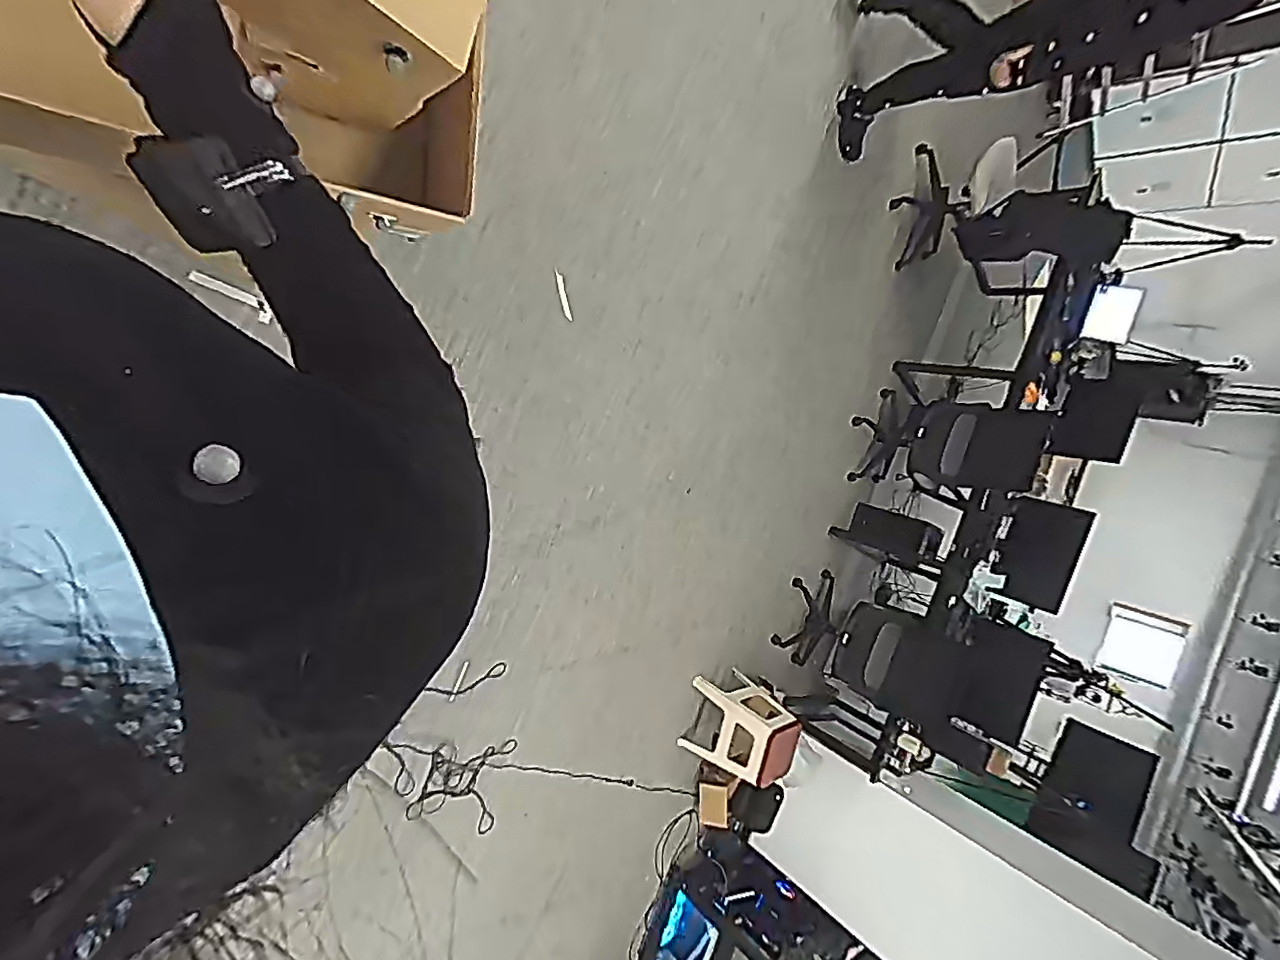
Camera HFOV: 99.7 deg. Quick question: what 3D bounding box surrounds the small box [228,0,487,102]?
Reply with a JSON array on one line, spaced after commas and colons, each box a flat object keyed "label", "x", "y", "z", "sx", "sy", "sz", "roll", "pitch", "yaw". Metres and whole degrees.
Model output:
[{"label": "small box", "x": -0.244, "y": -0.473, "z": 0.475, "sx": 0.179, "sy": 0.176, "sz": 0.168, "roll": 14, "pitch": 95, "yaw": -44}]
